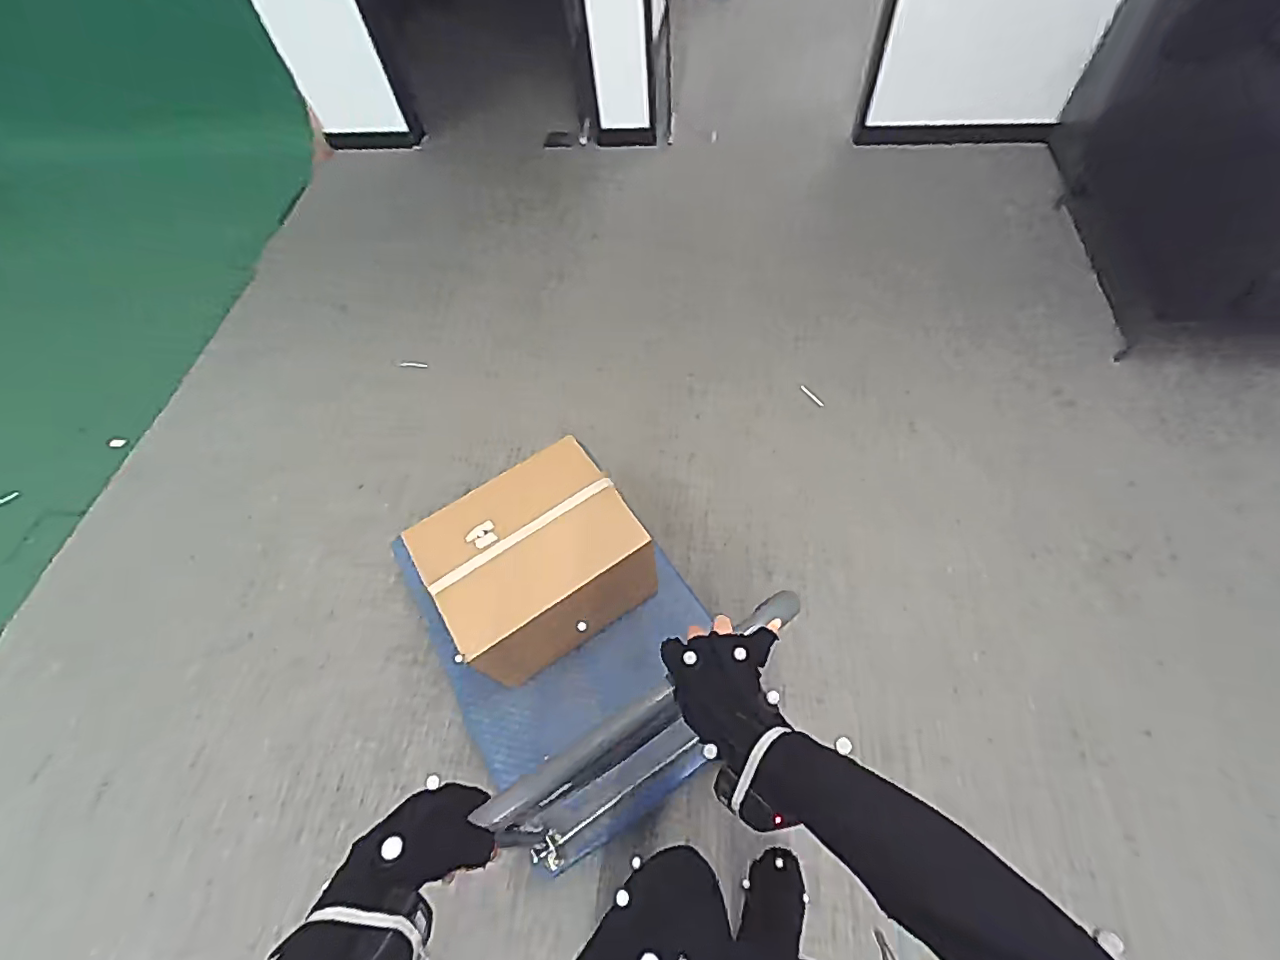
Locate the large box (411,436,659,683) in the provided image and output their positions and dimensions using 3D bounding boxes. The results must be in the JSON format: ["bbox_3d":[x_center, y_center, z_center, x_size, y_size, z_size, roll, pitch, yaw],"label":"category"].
[{"bbox_3d":[-0.207,0.182,1.202,0.408,0.320,0.320,-33,63,-13],"label":"large box"}]
